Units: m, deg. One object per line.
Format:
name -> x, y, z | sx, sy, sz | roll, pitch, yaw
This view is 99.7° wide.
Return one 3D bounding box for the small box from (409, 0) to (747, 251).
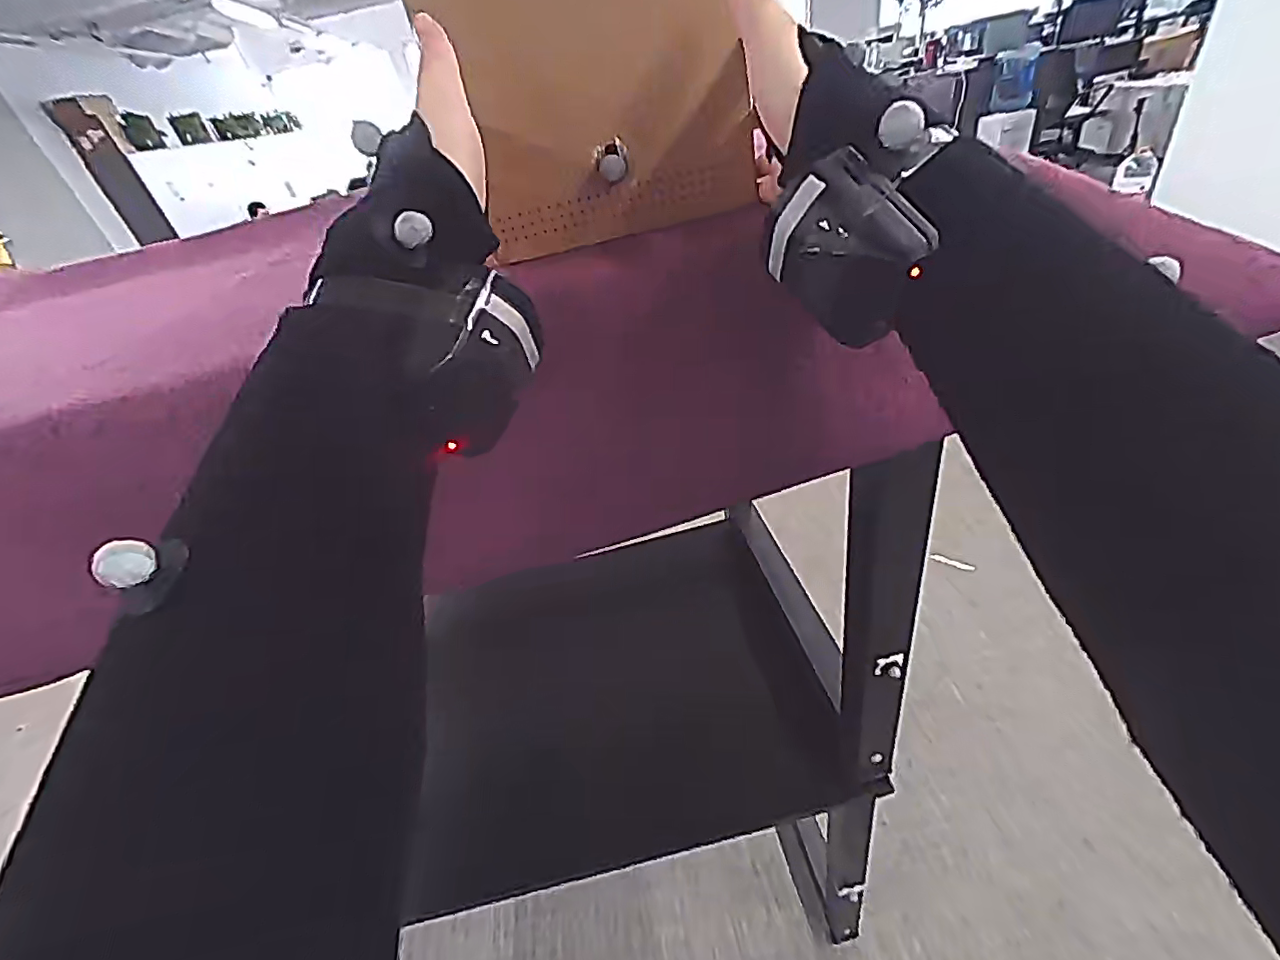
small box -> -0.032, -0.272, 0.359 | 0.179, 0.176, 0.168 | -13, 35, 2
